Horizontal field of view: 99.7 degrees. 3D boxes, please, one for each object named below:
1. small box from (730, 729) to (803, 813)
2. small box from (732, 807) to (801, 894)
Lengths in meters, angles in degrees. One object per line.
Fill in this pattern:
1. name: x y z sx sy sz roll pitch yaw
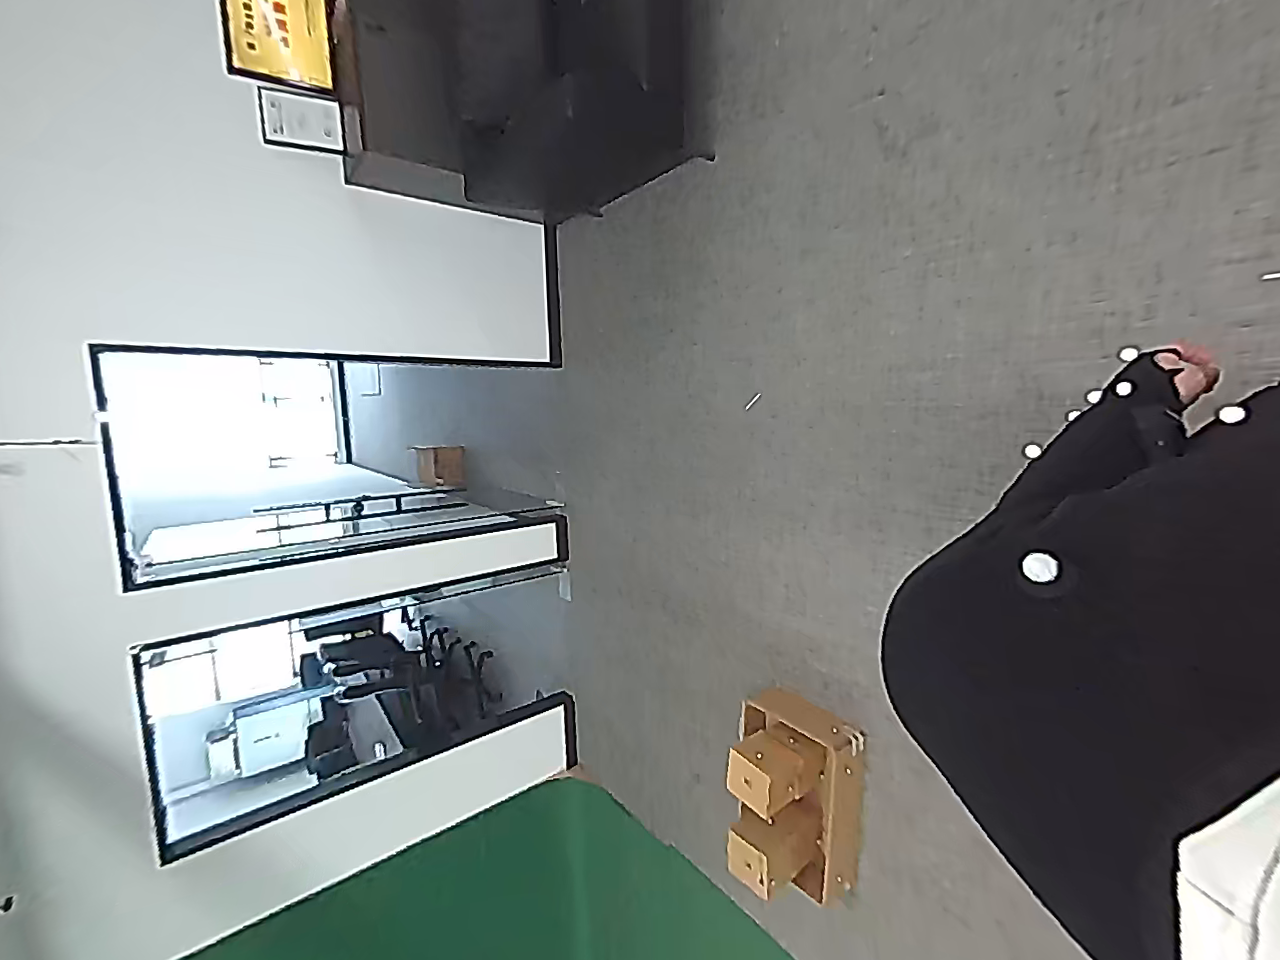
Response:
1. small box: 0.437 0.998 1.877 0.179 0.176 0.168 16 108 48
2. small box: 0.446 1.295 1.915 0.179 0.176 0.168 7 102 52
